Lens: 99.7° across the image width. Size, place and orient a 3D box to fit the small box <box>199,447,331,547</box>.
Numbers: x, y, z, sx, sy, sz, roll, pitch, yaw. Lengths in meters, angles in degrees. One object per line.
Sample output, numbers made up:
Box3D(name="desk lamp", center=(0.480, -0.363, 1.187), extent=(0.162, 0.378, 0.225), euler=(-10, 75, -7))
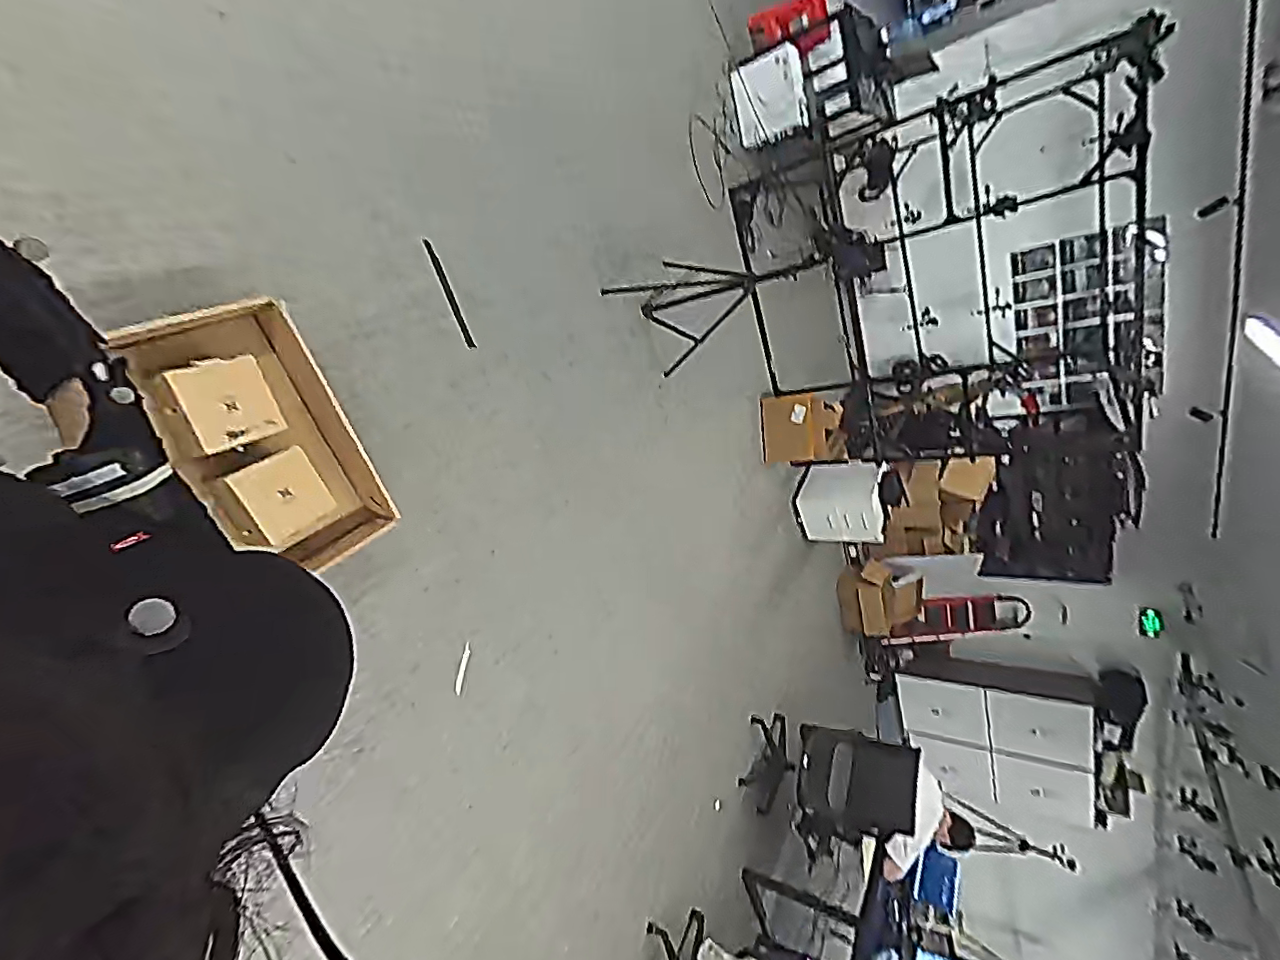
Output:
Box3D(name="small box", center=(-0.871, 0.038, 1.258), extent=(0.168, 0.176, 0.179), euler=(-43, 120, -46))

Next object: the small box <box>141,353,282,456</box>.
Box3D(name="small box", center=(-0.936, -0.162, 1.180), extent=(0.168, 0.176, 0.179), euler=(-36, 116, -48))
